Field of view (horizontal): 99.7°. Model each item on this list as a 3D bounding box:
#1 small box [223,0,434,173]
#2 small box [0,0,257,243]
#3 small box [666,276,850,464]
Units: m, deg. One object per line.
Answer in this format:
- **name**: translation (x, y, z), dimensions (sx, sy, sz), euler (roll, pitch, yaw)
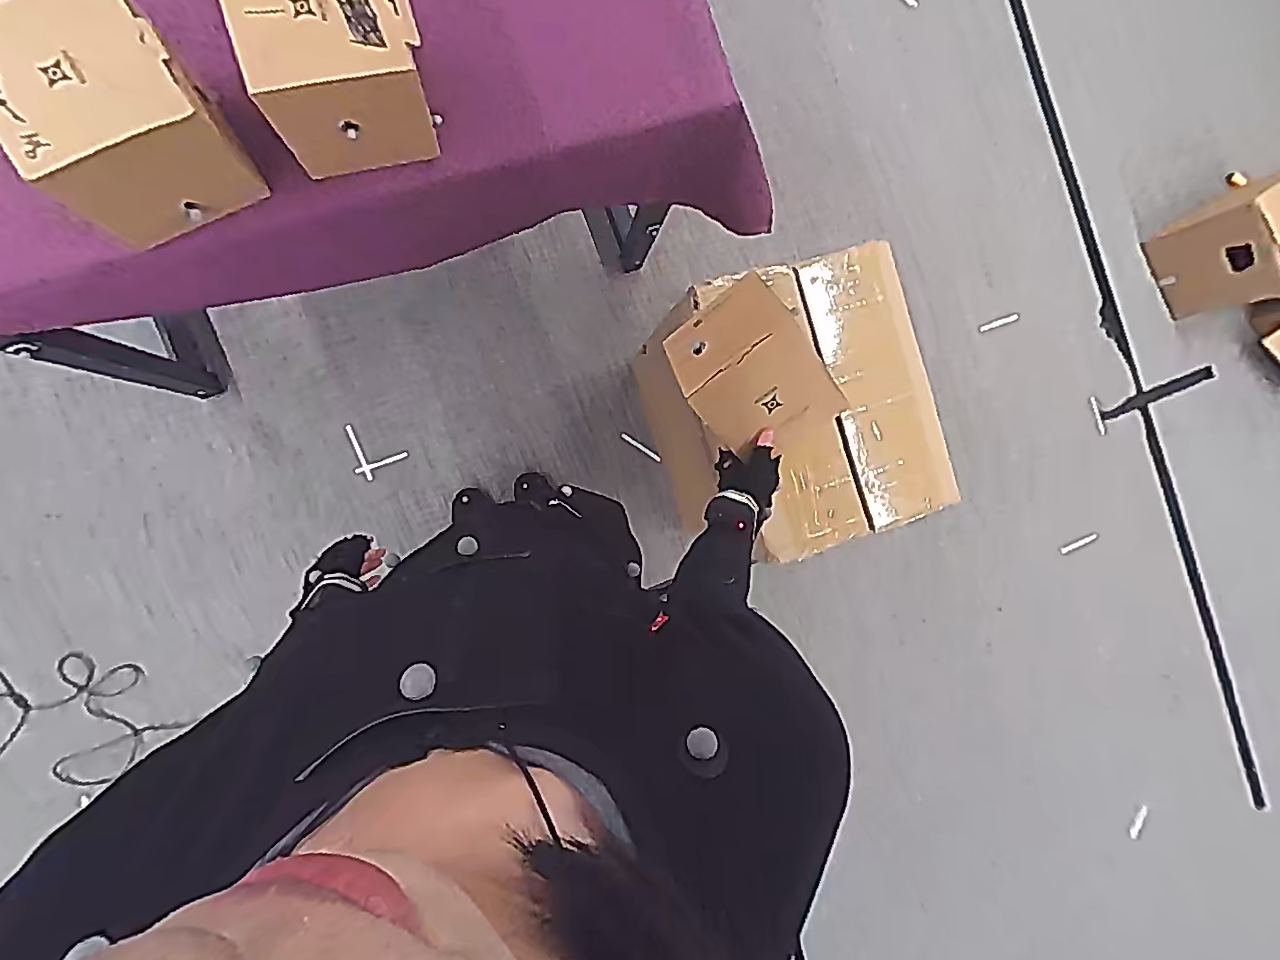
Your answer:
- **small box**: translation (-0.365, -0.510, 0.660), dimensions (0.179, 0.176, 0.168), euler (-16, 92, -10)
- **small box**: translation (-0.585, -0.410, 0.618), dimensions (0.179, 0.176, 0.168), euler (-31, 95, -11)
- **small box**: translation (0.158, -0.162, 0.769), dimensions (0.168, 0.176, 0.179), euler (-36, 128, 20)
